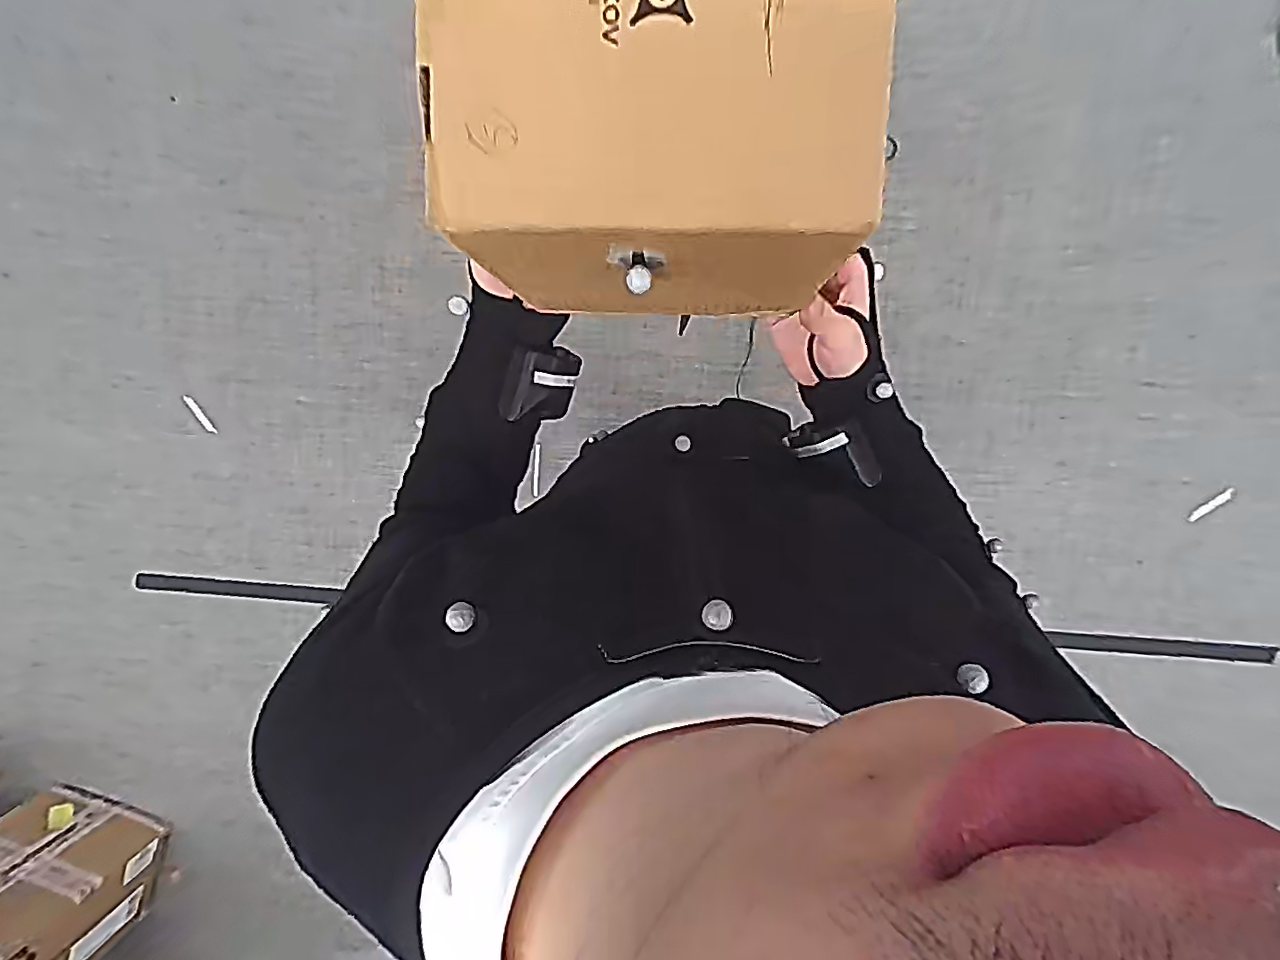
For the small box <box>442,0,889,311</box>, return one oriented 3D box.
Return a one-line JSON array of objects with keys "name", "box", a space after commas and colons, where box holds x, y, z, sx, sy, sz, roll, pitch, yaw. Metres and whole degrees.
[{"name": "small box", "box": [0.014, -0.189, 0.288, 0.179, 0.176, 0.168, 3, 97, 4]}]
